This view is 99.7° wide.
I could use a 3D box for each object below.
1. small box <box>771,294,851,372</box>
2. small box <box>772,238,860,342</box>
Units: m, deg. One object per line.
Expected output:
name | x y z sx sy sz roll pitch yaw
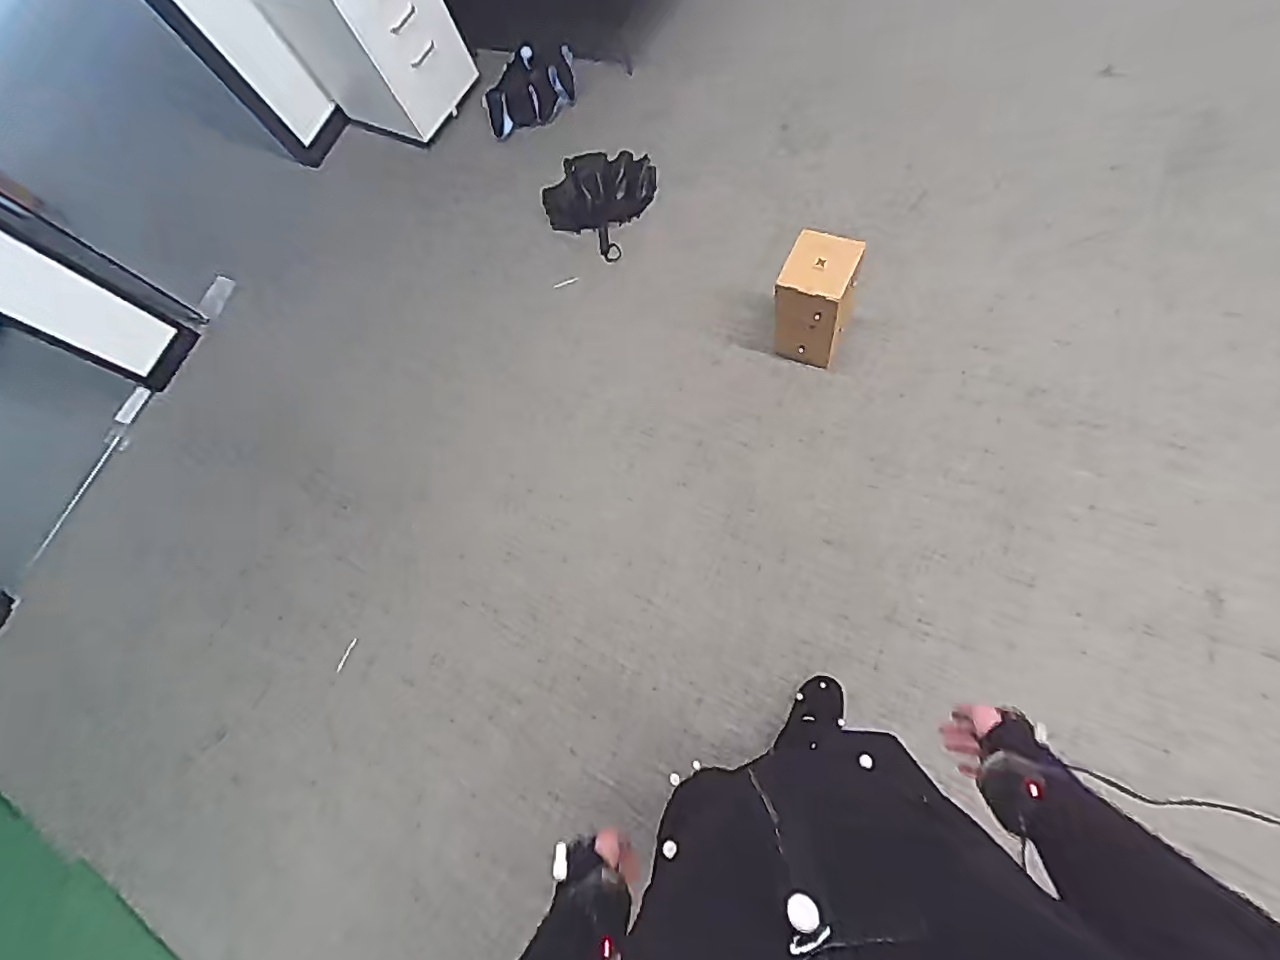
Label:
small box | 0.494 -0.442 1.570 0.168 0.176 0.179 23 79 20
small box | 0.457 -0.492 1.419 0.168 0.176 0.179 23 77 19
